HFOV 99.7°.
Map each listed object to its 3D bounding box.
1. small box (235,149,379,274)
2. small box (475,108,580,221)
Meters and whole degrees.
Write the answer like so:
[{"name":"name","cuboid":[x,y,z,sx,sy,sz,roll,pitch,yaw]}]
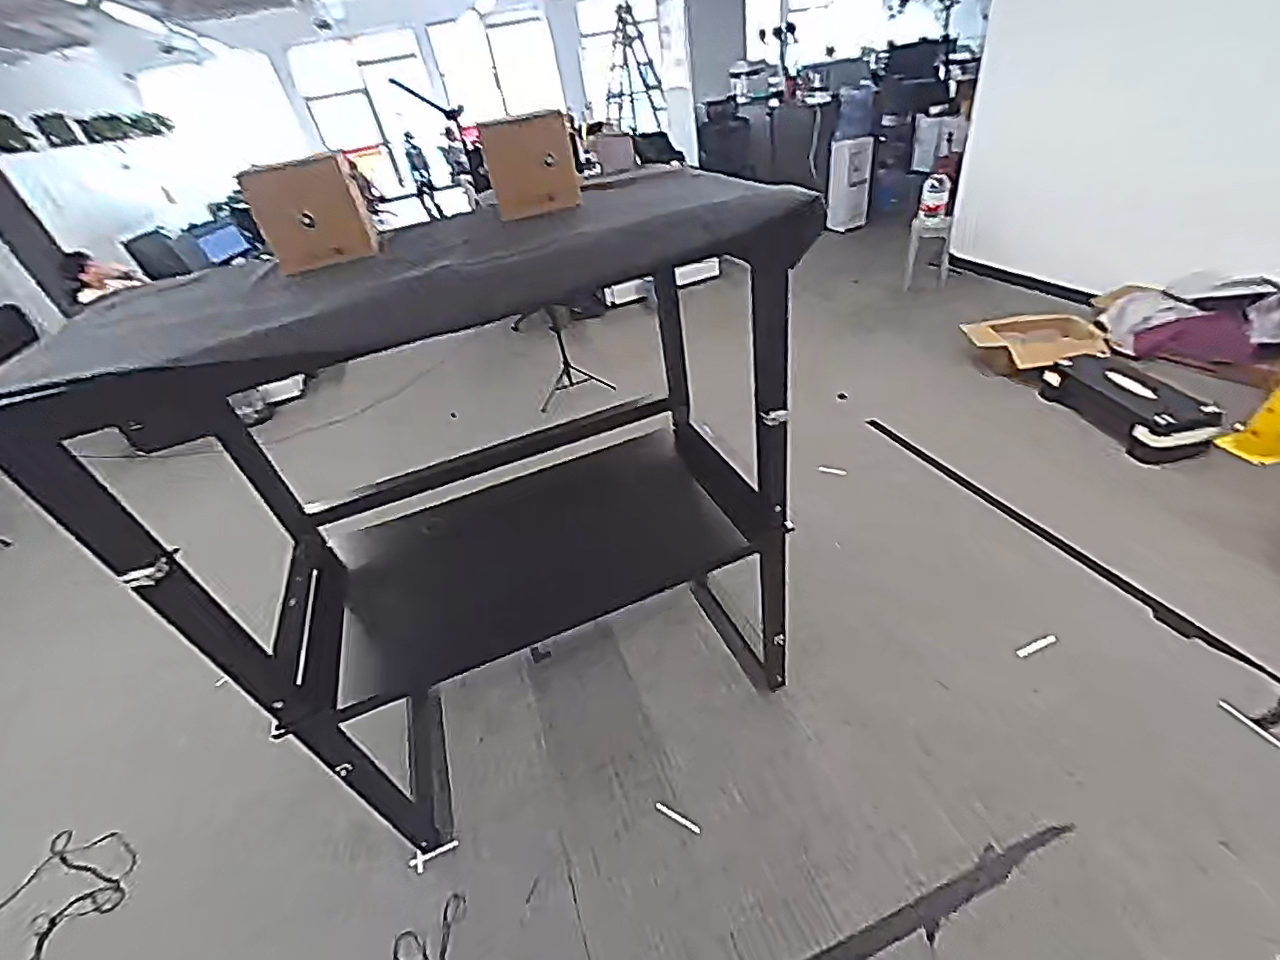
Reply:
[{"name":"small box","cuboid":[-0.604,-0.498,1.007,0.168,0.176,0.179,-20,39,-12]},{"name":"small box","cuboid":[-0.227,-0.639,1.098,0.168,0.176,0.179,-16,37,-8]}]
